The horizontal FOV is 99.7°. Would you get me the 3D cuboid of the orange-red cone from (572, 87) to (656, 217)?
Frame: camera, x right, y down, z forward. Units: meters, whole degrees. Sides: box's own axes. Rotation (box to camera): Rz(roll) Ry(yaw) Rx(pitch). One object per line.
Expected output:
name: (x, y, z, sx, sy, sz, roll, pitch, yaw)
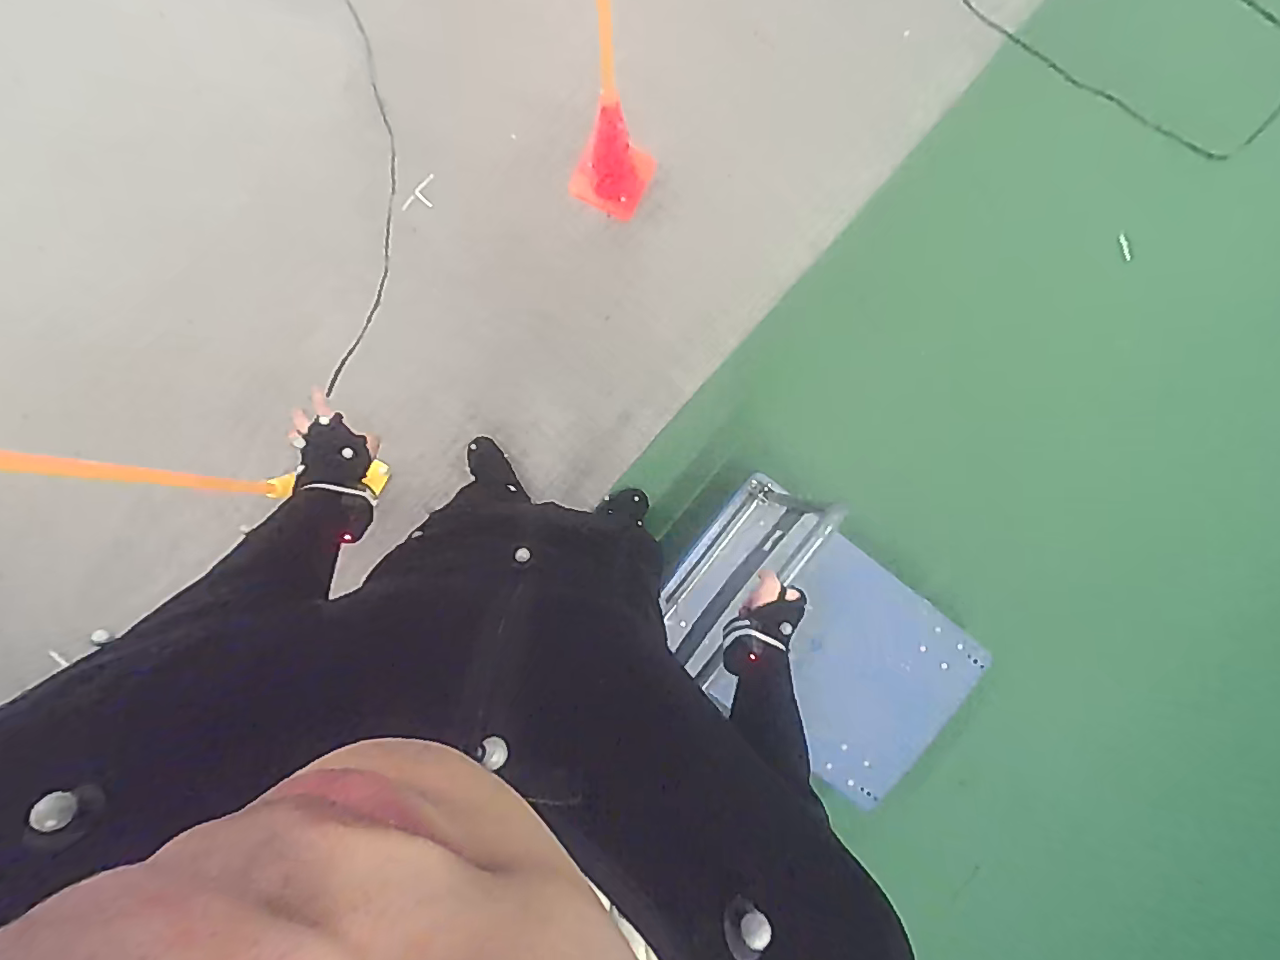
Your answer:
orange-red cone: (-0.067, -0.880, 1.395, 0.198, 0.360, 0.199, 27, 91, -4)
